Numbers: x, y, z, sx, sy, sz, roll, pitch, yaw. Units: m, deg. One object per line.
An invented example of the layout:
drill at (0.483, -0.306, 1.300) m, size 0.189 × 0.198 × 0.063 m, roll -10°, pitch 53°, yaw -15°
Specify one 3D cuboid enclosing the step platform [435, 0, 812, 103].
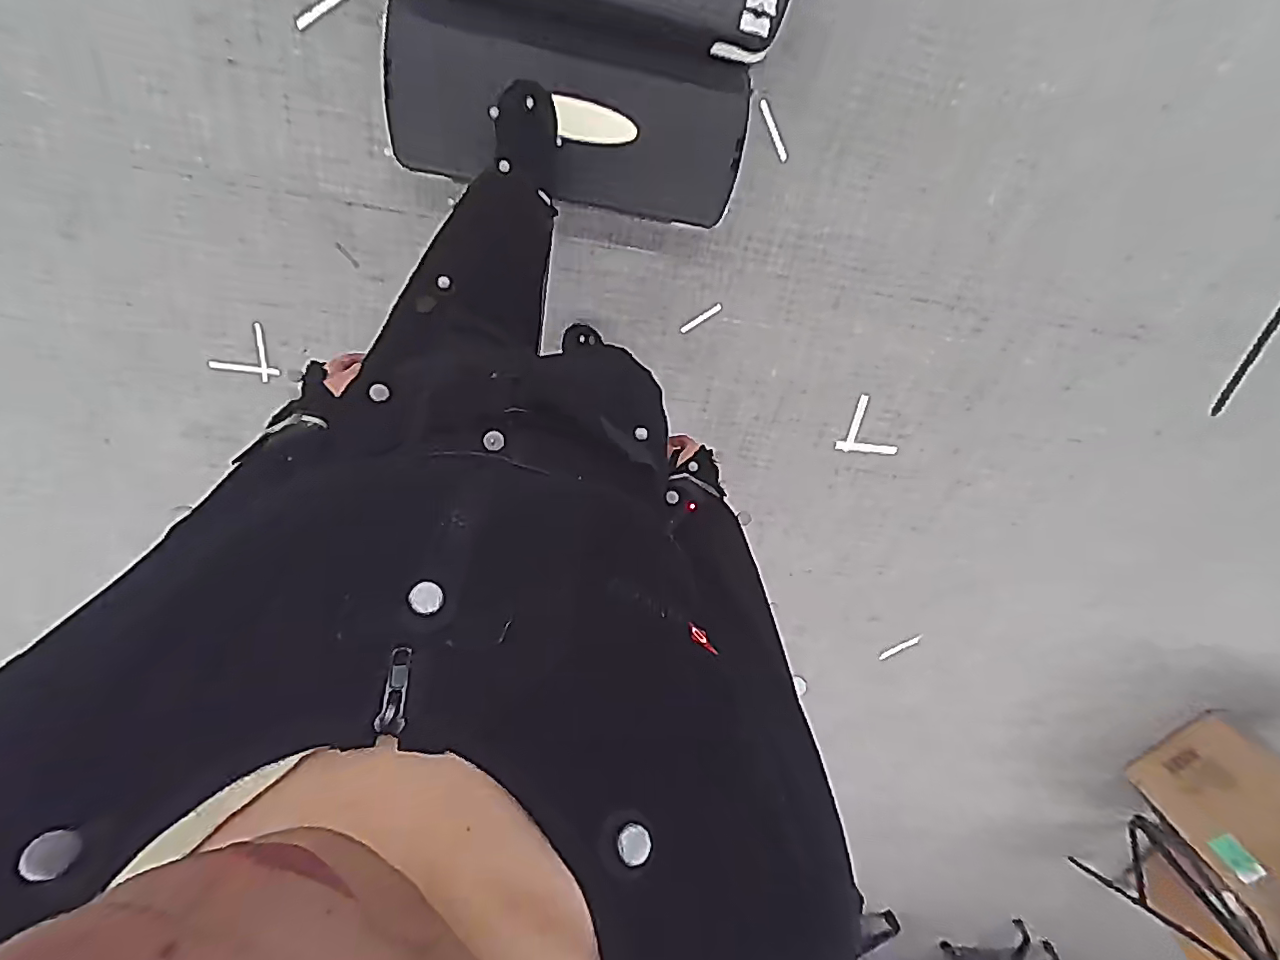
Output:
step platform at (-0.041, -0.893, 0.898) m, size 0.684 × 0.204 × 0.286 m, roll 11°, pitch 115°, yaw -10°
